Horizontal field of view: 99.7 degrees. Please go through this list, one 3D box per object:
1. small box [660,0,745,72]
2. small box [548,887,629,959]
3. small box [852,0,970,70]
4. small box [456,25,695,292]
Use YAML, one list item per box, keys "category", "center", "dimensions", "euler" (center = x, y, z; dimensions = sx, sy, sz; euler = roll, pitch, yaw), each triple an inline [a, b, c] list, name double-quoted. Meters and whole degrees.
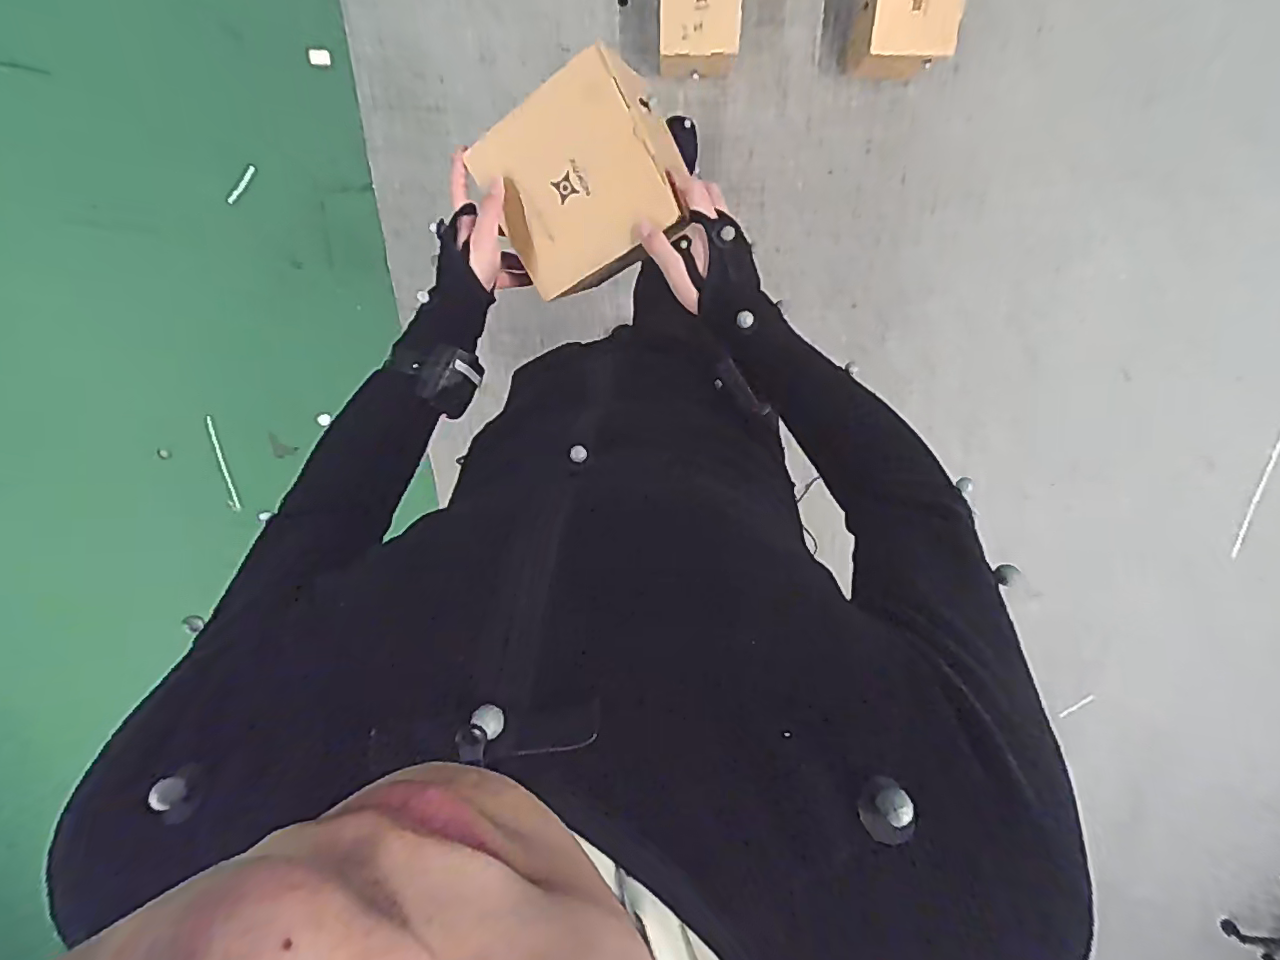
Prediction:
- category: "small box"
  center: [0.128, -0.992, 1.137]
  dimensions: [0.168, 0.176, 0.179]
  euler: [1, 113, 2]
- category: "small box"
  center: [-0.114, 1.075, 1.247]
  dimensions: [0.179, 0.176, 0.168]
  euler: [-1, 114, 1]
- category: "small box"
  center: [0.562, -0.979, 1.130]
  dimensions: [0.179, 0.176, 0.168]
  euler: [1, 113, 1]
- category: "small box"
  center: [-0.053, -0.329, 0.587]
  dimensions: [0.179, 0.176, 0.168]
  euler: [-22, 106, 26]
